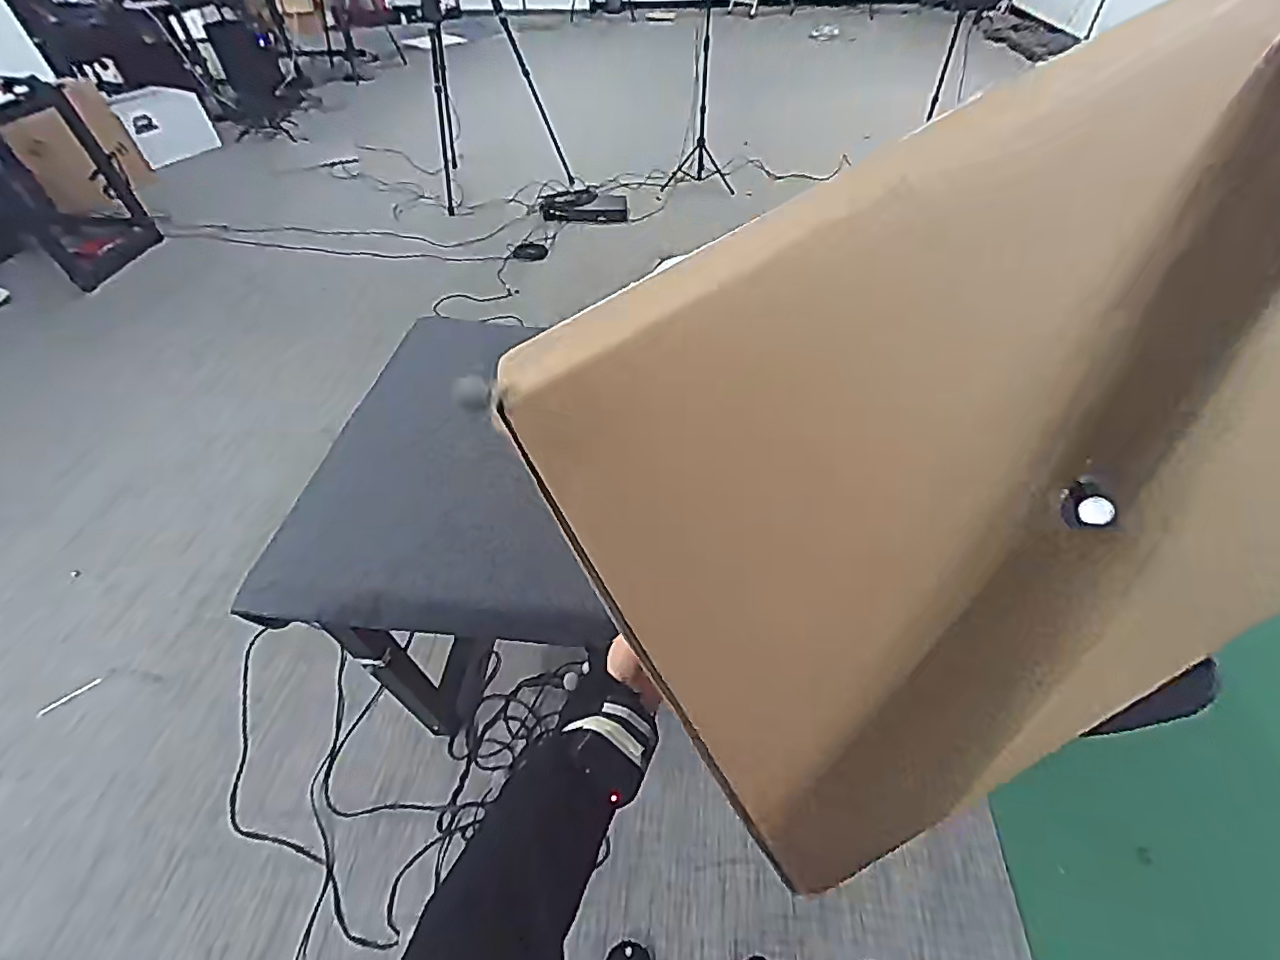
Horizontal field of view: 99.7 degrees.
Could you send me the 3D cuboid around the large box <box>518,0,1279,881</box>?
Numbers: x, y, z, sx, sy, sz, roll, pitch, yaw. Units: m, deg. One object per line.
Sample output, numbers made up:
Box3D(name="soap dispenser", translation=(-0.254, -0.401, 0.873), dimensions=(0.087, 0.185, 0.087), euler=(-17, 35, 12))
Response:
Box3D(name="large box", translation=(0.168, -0.032, 0.402), dimensions=(0.408, 0.320, 0.320), euler=(-32, 20, -4))
